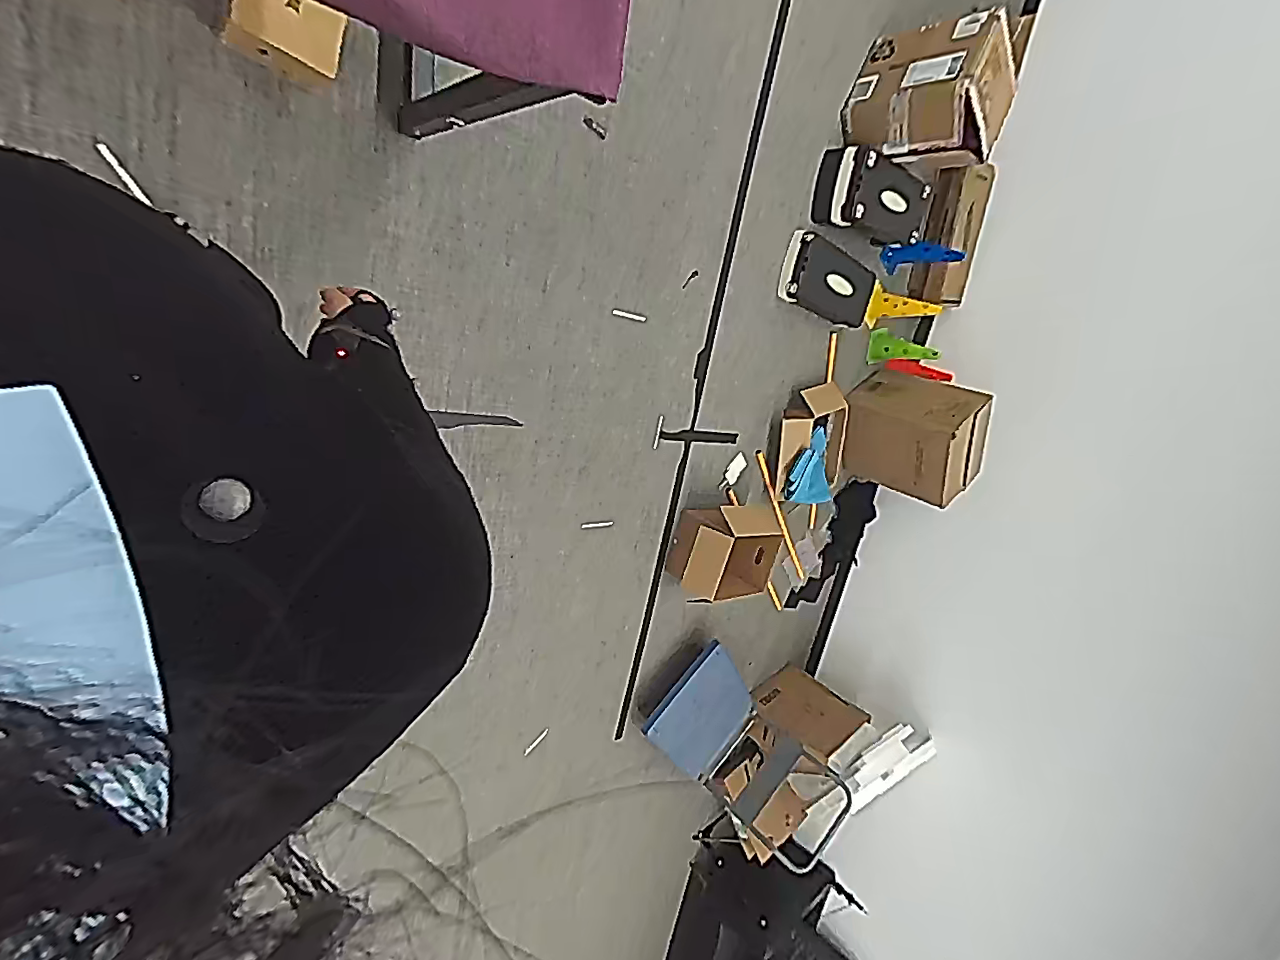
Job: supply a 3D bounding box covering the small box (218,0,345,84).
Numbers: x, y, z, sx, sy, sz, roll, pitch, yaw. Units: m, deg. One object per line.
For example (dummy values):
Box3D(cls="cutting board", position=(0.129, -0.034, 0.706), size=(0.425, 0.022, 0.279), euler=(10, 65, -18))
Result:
Box3D(cls="small box", position=(-0.675, -0.891, 1.017), size=(0.168, 0.176, 0.179), euler=(8, 103, -45))
